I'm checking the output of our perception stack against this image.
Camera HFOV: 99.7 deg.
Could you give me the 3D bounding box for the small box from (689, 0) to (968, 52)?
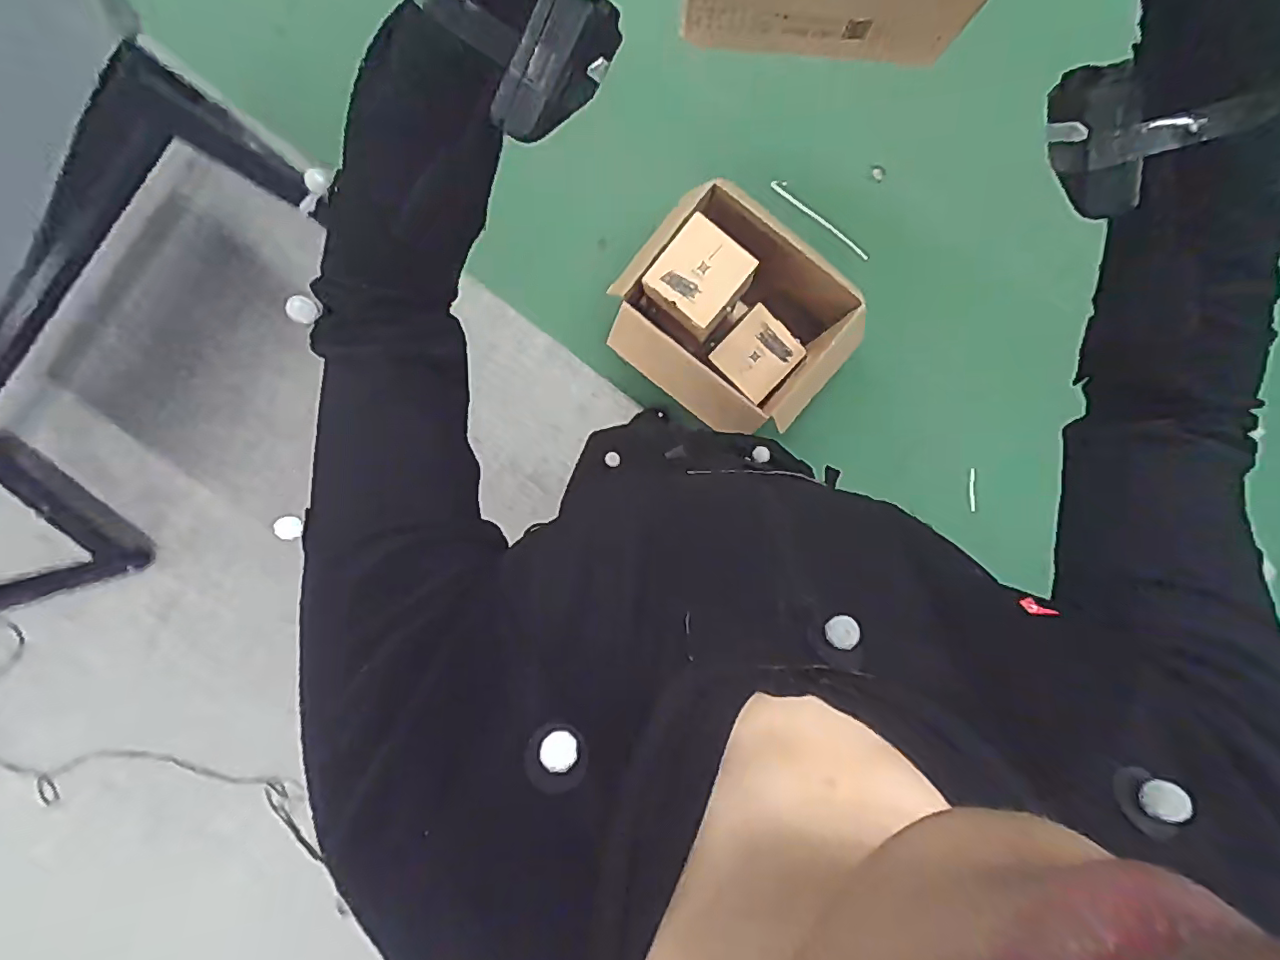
[{"bbox_3d":[0.110,-0.347,0.254,0.168,0.176,0.179,4,96,1],"label":"small box"}]
